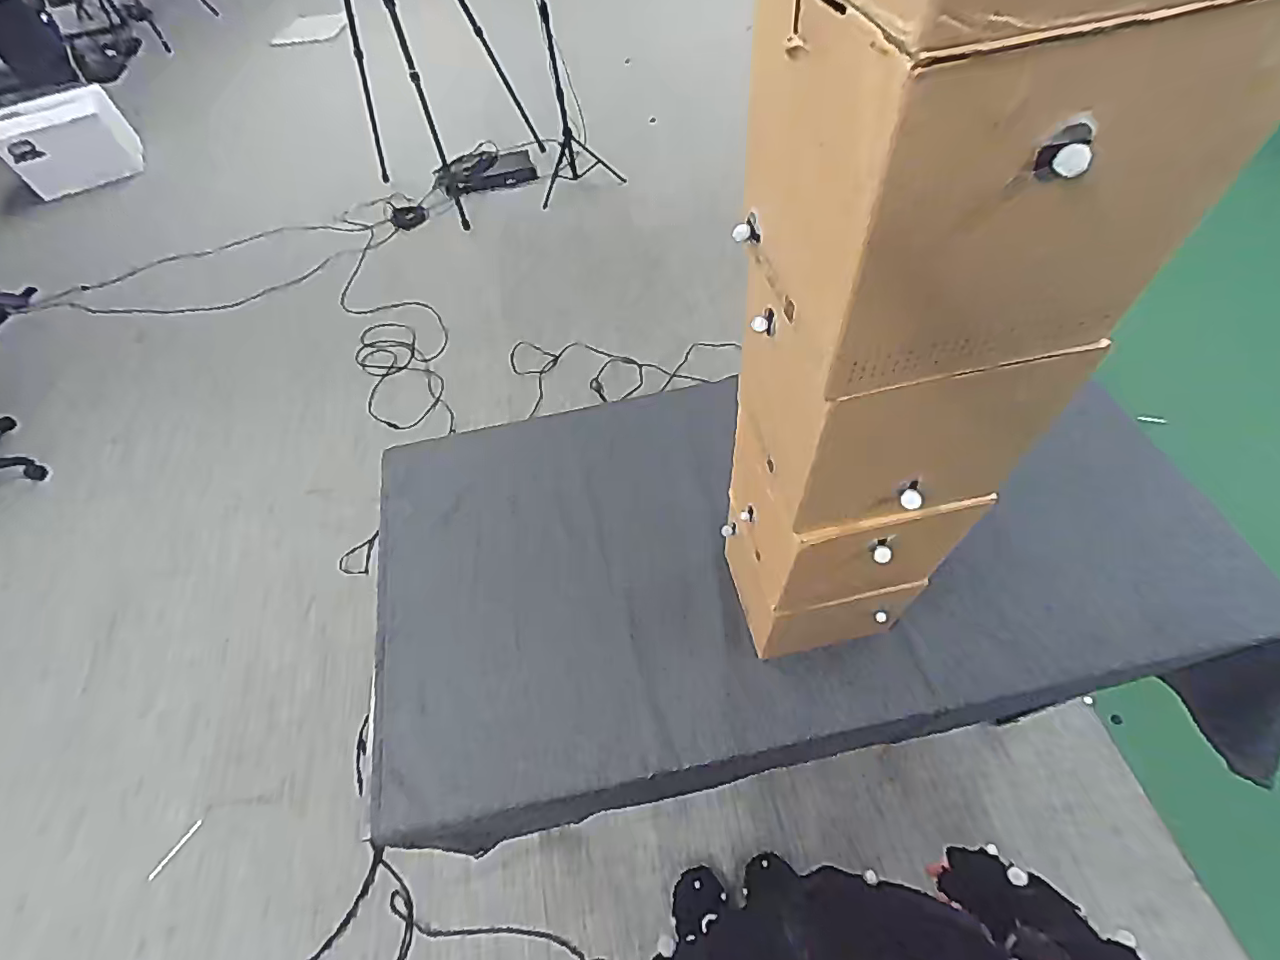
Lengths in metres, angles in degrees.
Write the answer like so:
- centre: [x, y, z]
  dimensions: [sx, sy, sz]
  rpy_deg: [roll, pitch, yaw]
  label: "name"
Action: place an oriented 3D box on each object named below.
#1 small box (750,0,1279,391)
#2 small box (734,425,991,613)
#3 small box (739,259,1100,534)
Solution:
- centre: [0.166, -0.171, 0.300]
  dimensions: [0.179, 0.176, 0.168]
  rpy_deg: [-12, 56, -2]
  label: "small box"
- centre: [0.206, 0.020, 0.564]
  dimensions: [0.179, 0.176, 0.168]
  rpy_deg: [-13, 55, -2]
  label: "small box"
- centre: [0.188, -0.076, 0.433]
  dimensions: [0.179, 0.176, 0.168]
  rpy_deg: [-11, 55, -1]
  label: "small box"
